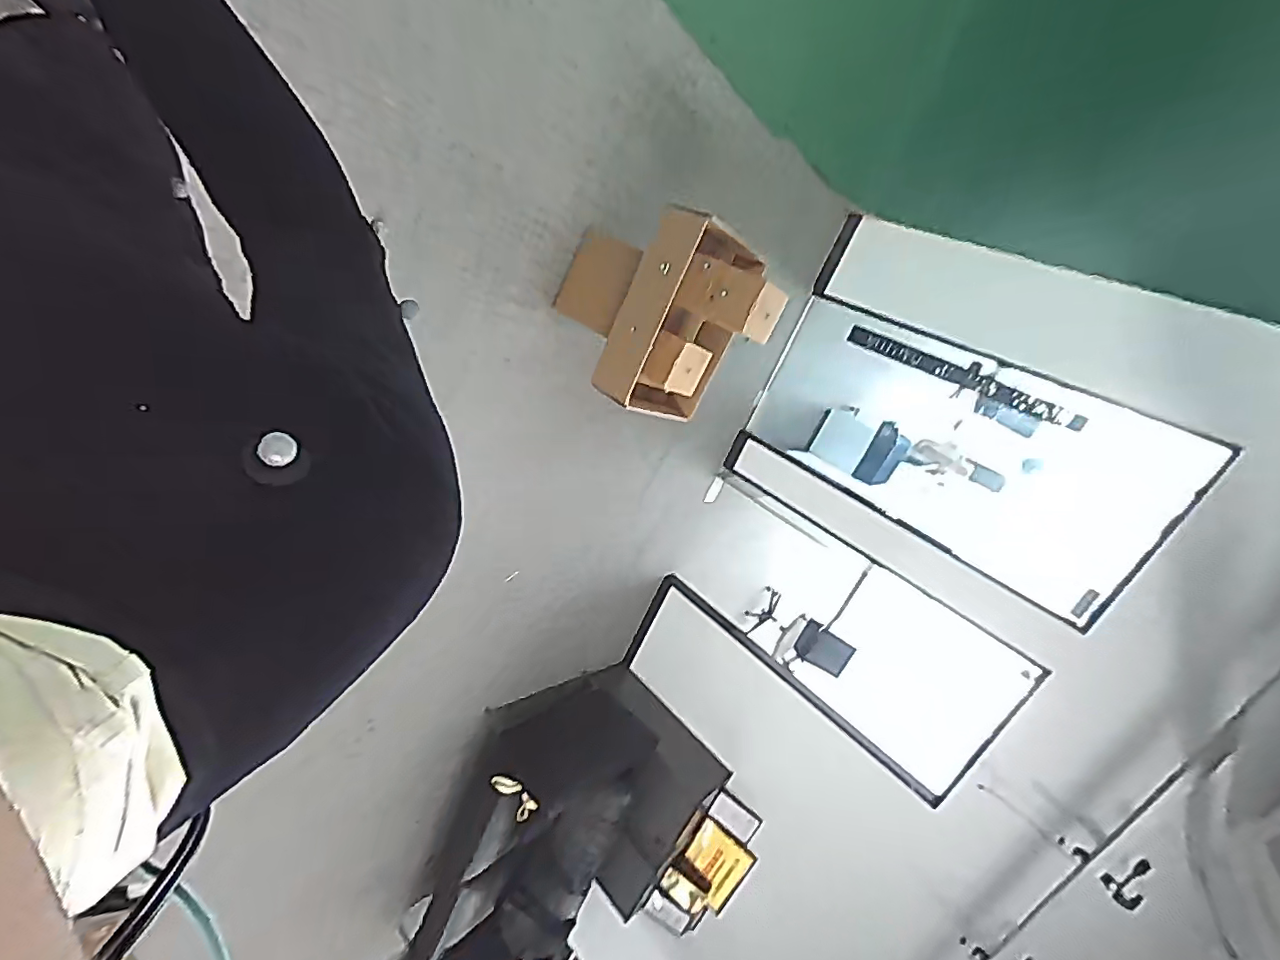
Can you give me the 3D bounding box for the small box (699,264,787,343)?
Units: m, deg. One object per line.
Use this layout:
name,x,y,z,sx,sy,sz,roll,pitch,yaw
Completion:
small box,0.318,-0.549,1.678,0.179,0.176,0.168,1,119,-53
